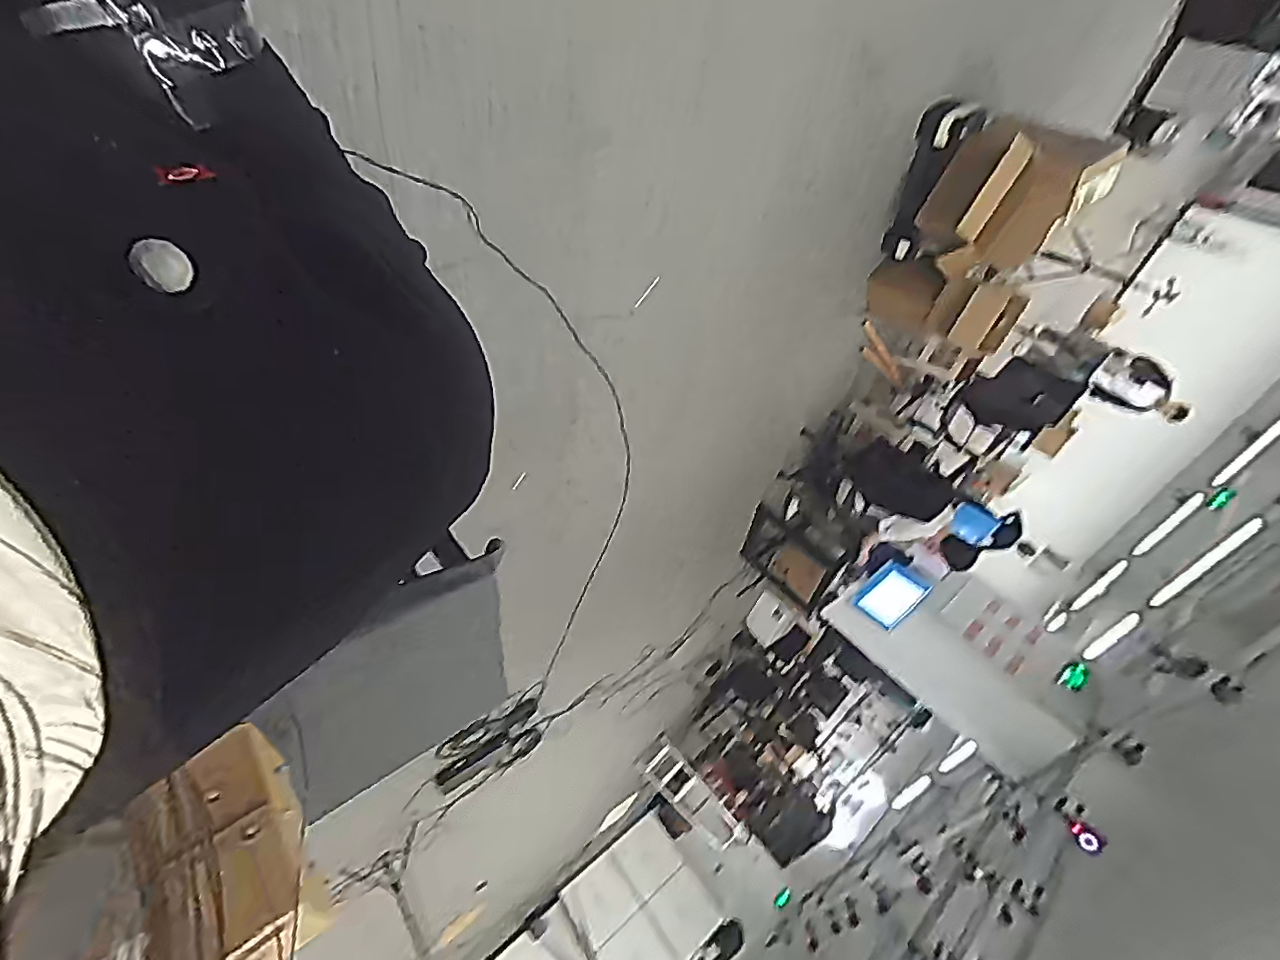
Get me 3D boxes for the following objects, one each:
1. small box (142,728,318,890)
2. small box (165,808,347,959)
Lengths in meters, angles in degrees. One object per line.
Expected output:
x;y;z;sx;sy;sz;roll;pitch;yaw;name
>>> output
-0.699;0.566;0.930;0.179;0.176;0.168;-29;146;-28;small box
-0.589;0.652;0.837;0.168;0.176;0.179;-26;144;-31;small box
